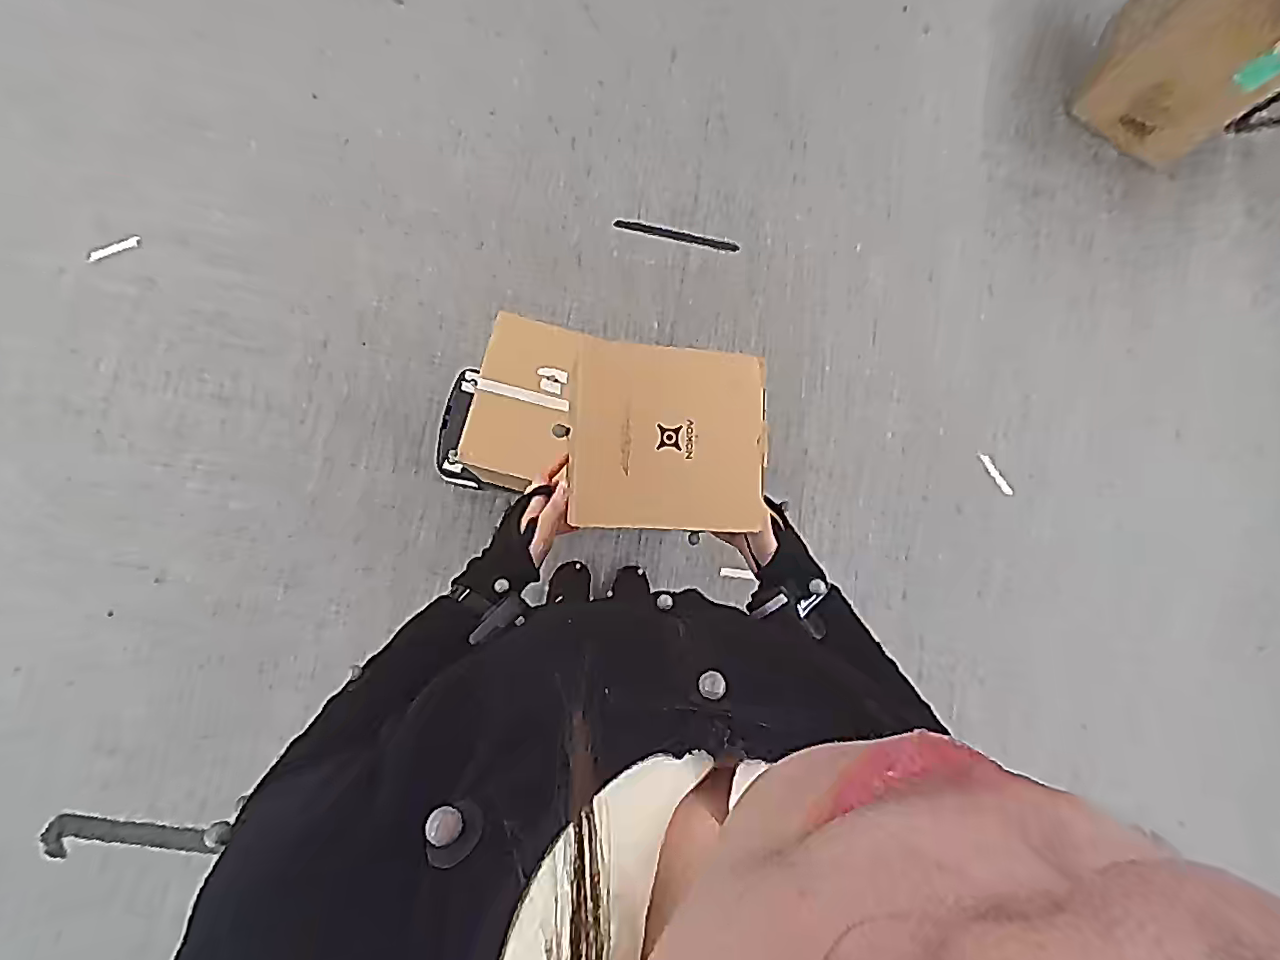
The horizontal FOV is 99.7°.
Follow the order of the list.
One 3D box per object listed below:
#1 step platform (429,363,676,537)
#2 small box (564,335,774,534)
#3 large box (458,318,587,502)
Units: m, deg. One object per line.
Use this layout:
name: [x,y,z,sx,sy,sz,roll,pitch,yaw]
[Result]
step platform: [-0.185,-0.070,1.426,0.684,0.204,0.286,17,81,-4]
small box: [0.018,-0.034,0.548,0.179,0.176,0.168,3,86,-10]
large box: [-0.132,-0.109,1.195,0.408,0.320,0.320,14,80,-4]
